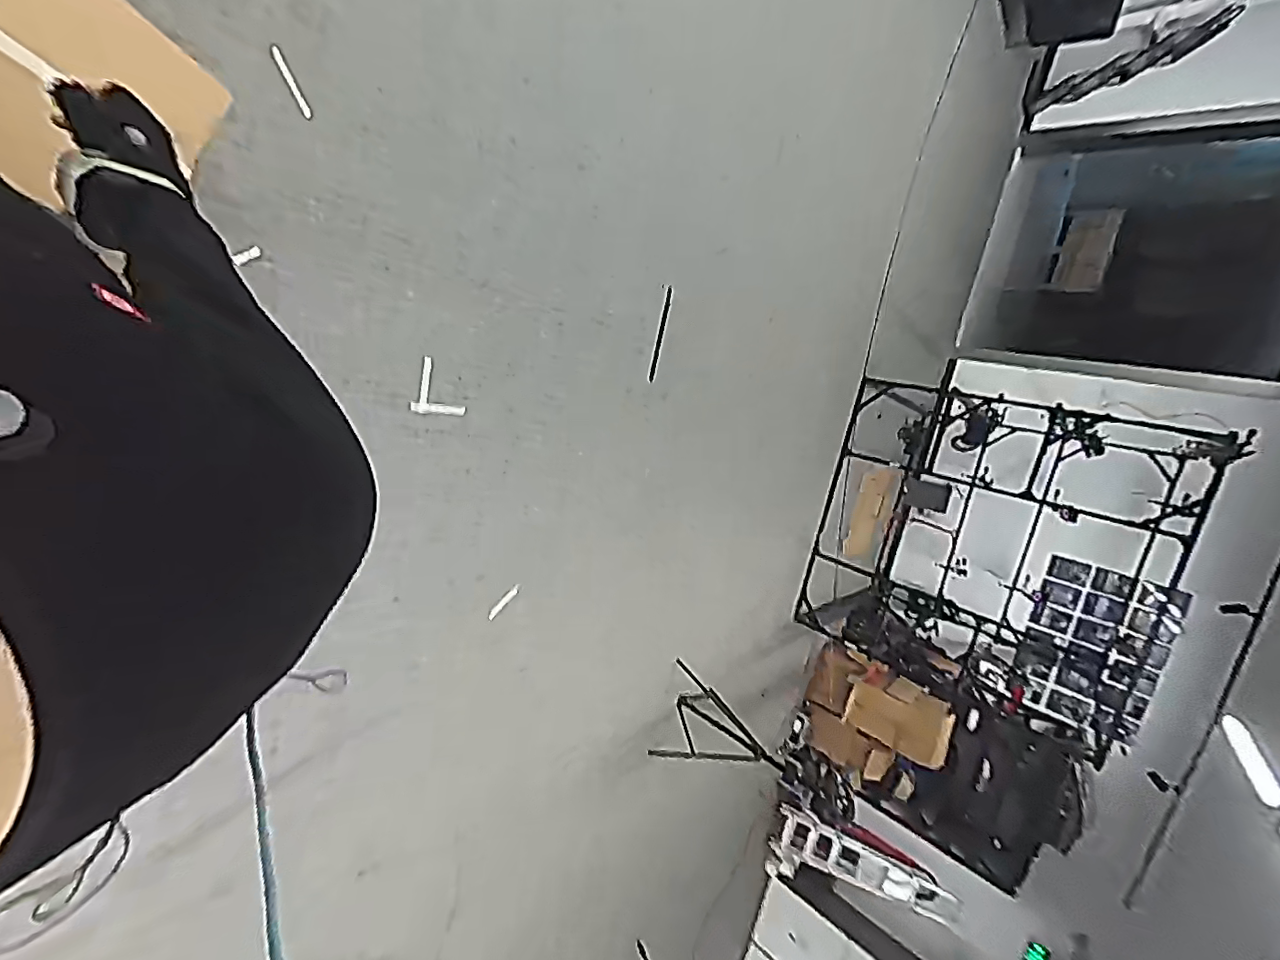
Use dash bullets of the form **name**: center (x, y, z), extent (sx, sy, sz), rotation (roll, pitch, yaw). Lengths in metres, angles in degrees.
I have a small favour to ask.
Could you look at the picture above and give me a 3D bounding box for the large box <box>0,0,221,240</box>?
- **large box**: center (-0.950, -0.617, 0.796), extent (0.408, 0.320, 0.320), rotation (37, 77, -51)
